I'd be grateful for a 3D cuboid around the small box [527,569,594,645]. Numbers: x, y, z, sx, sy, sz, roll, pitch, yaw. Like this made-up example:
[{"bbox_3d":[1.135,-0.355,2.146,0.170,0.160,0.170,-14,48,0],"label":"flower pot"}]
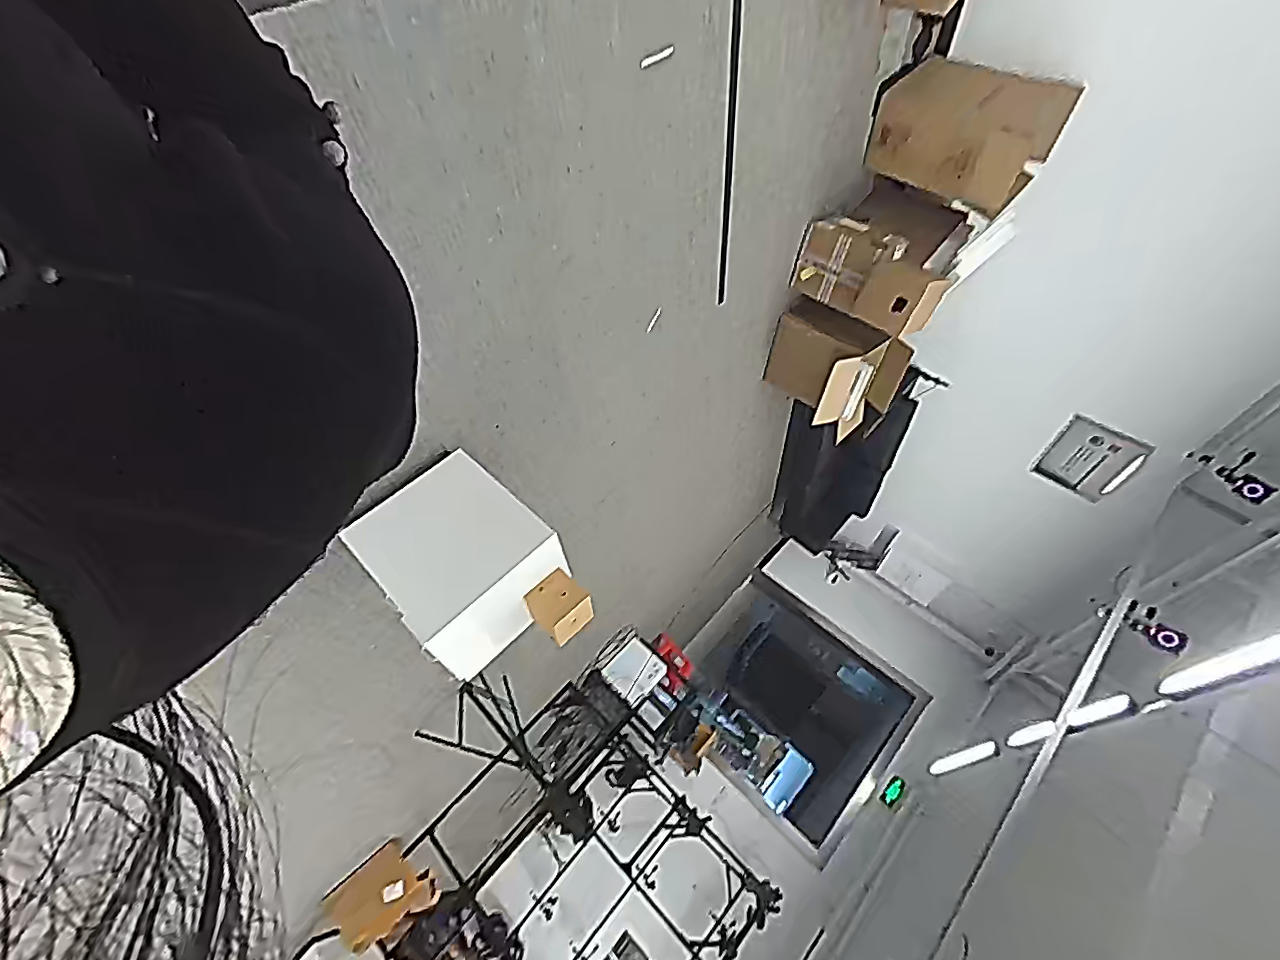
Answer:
[{"bbox_3d":[-0.284,0.444,1.923,0.168,0.176,0.179,-39,151,-26],"label":"small box"}]
